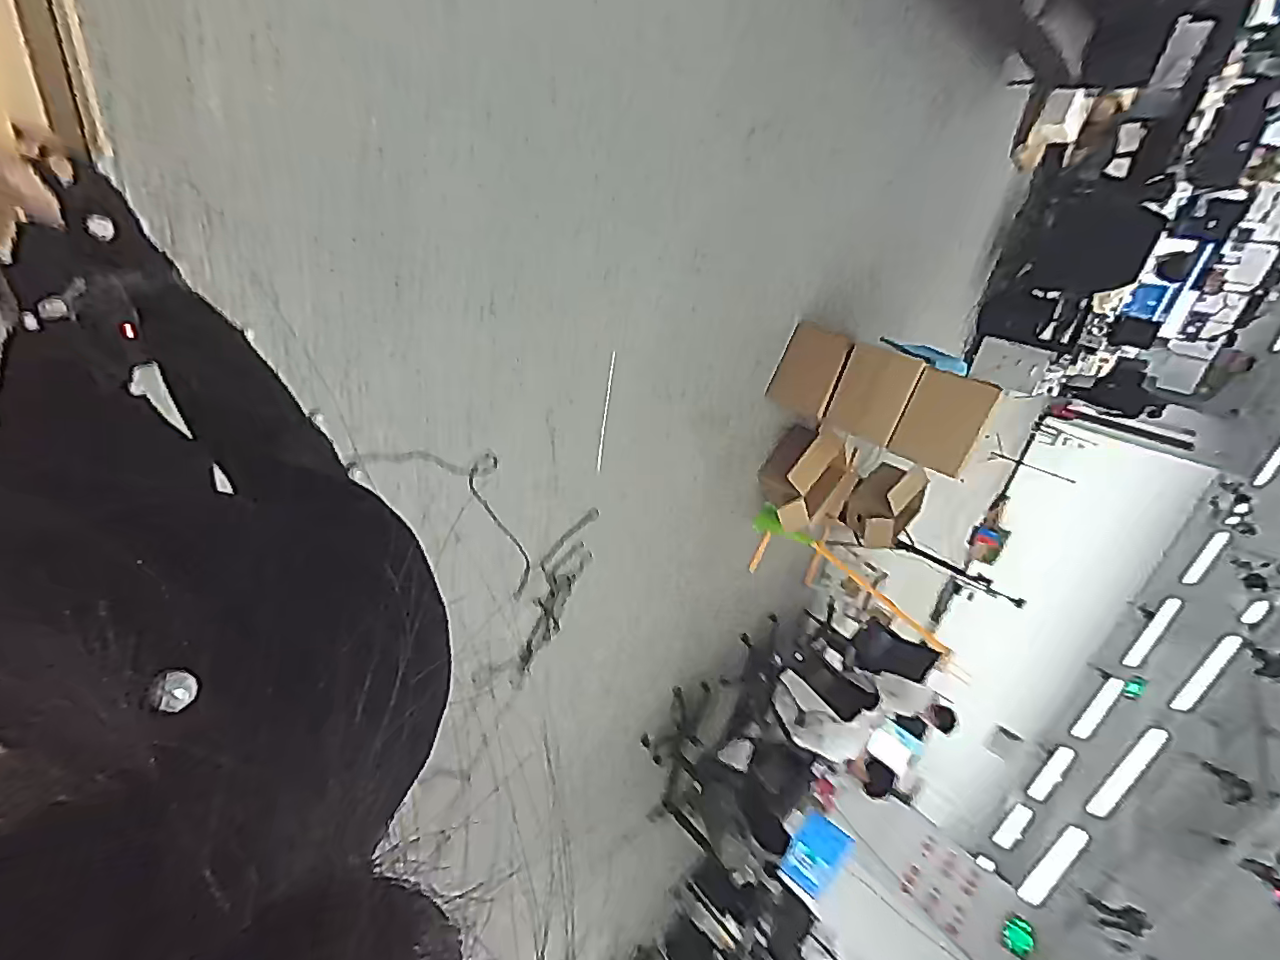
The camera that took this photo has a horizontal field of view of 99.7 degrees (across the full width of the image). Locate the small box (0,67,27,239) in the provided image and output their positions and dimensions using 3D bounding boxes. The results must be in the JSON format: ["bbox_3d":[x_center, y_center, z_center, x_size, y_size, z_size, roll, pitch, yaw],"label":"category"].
[{"bbox_3d":[-0.642,-0.303,0.430,0.179,0.176,0.168,-15,95,-51],"label":"small box"}]
